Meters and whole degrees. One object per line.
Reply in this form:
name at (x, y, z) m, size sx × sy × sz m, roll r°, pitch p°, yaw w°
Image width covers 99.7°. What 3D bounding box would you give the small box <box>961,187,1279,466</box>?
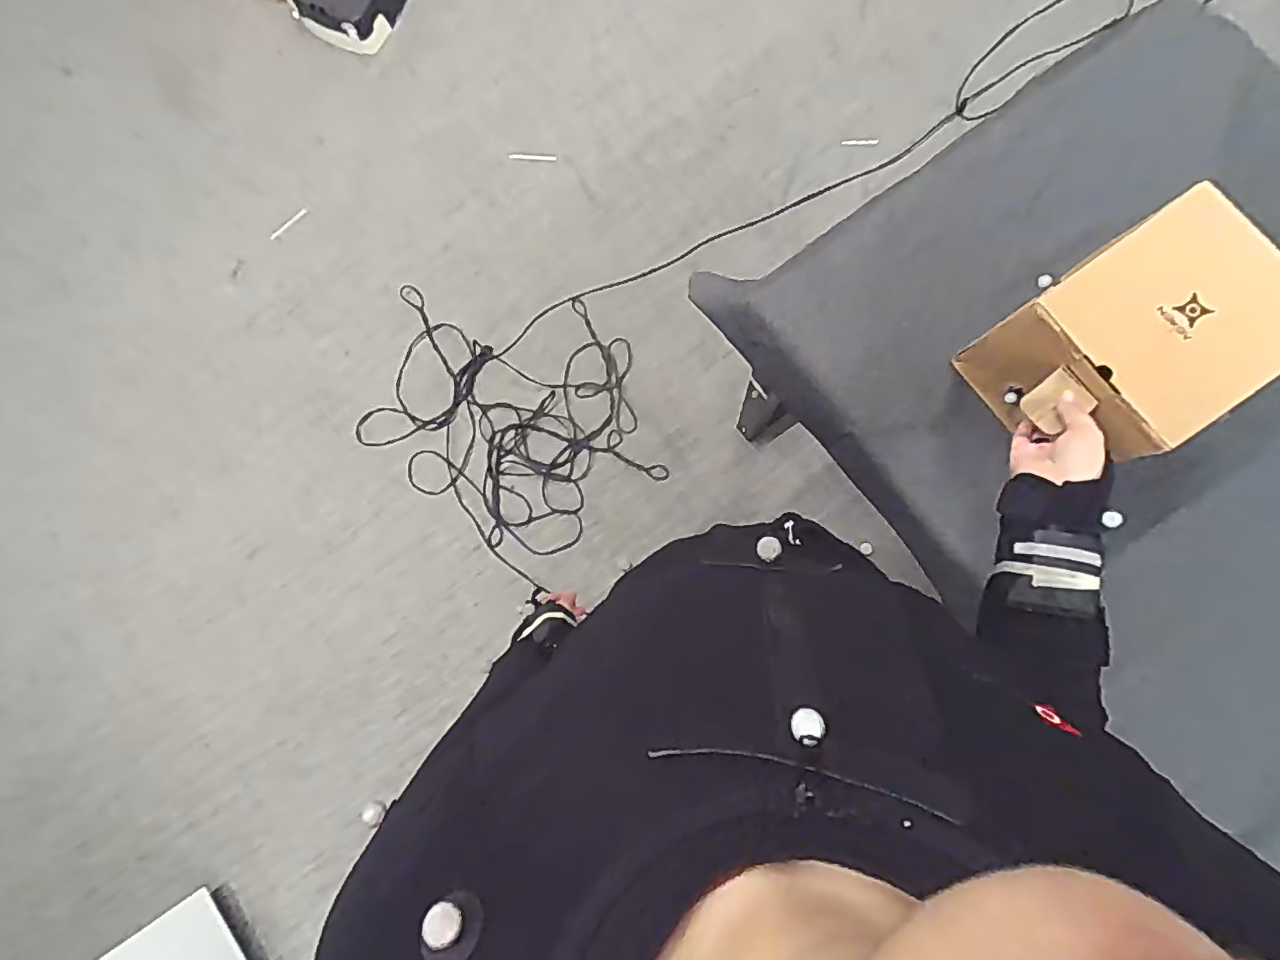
small box at (0.470, -0.132, 0.534) m, size 0.179 × 0.176 × 0.168 m, roll -37°, pitch 82°, yaw 3°
